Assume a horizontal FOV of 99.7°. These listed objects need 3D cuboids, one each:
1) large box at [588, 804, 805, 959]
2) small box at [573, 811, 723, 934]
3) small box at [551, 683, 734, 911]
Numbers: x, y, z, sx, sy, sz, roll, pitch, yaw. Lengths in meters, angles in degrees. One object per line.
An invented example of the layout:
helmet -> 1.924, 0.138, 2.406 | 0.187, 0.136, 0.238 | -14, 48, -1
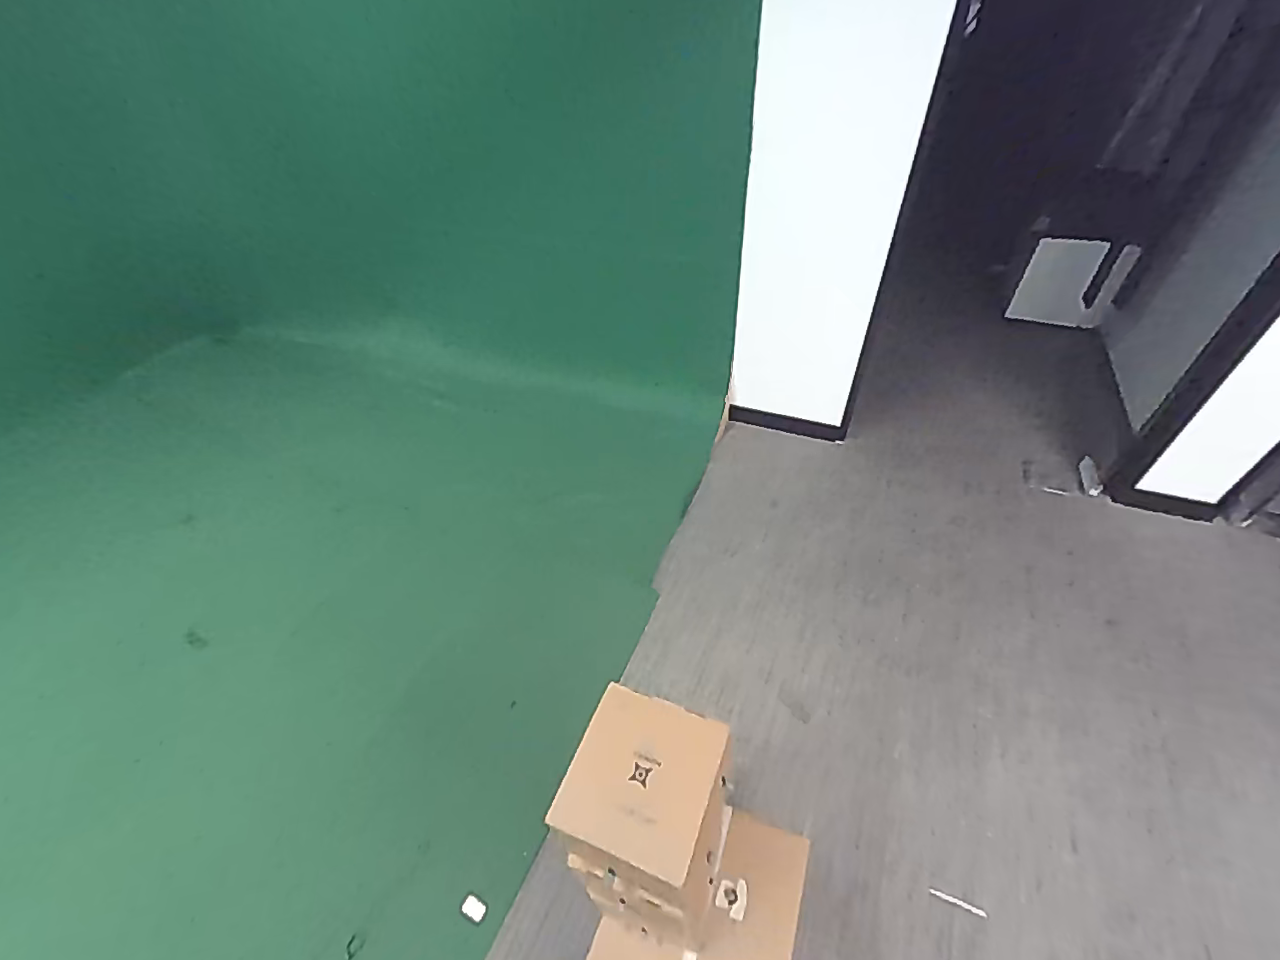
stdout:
large box -> 0.104, 0.867, 1.013 | 0.320, 0.320, 0.408 | 13, 46, 18
small box -> 0.023, 0.518, 0.792 | 0.168, 0.176, 0.179 | 11, 47, 20
small box -> 0.014, 0.397, 0.683 | 0.168, 0.176, 0.179 | 12, 48, 22
